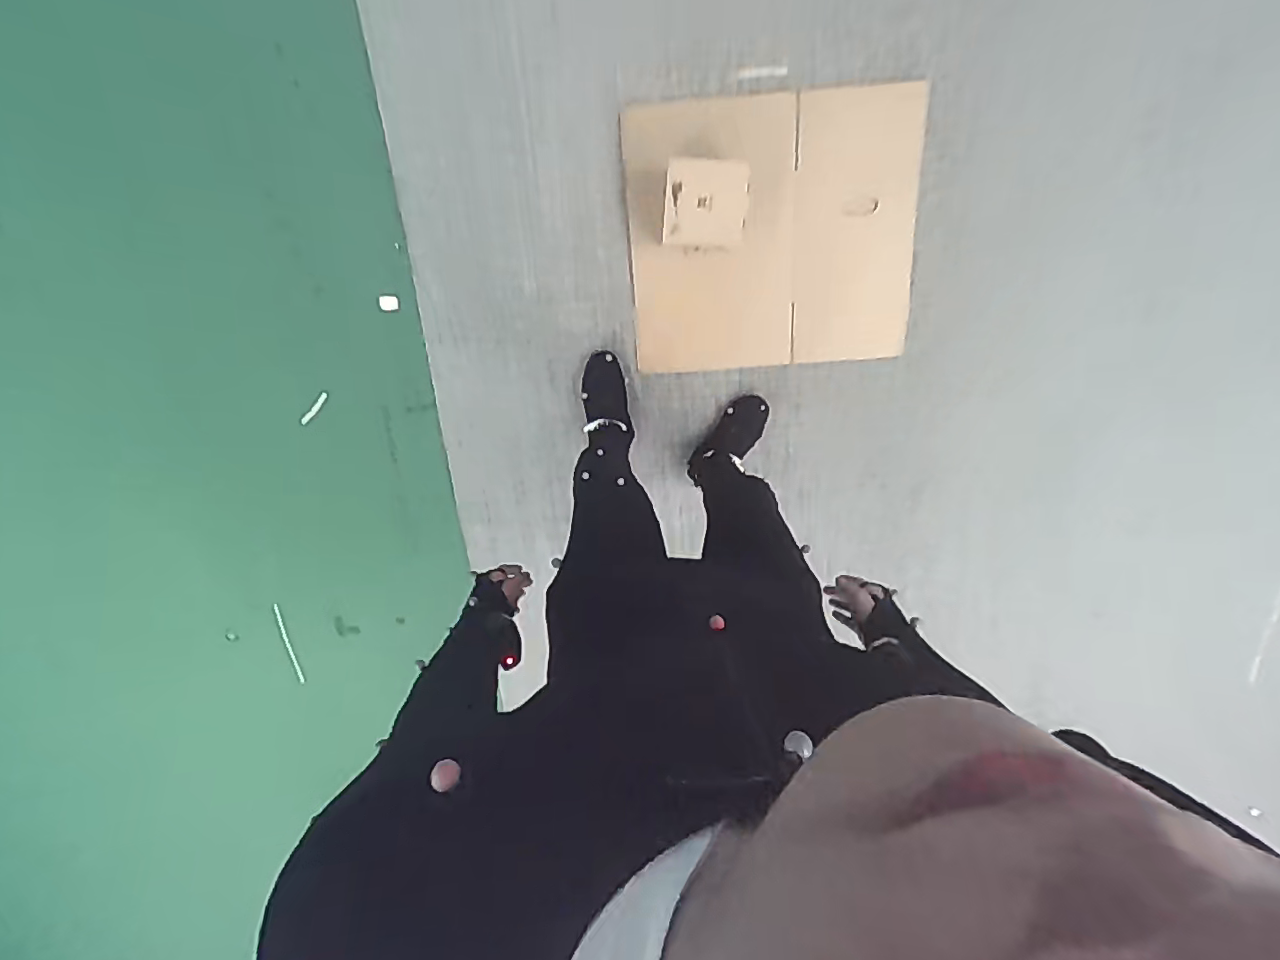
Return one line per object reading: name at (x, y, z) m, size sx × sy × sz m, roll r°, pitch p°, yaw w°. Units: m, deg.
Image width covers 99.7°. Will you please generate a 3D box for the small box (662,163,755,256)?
small box at (0.147, -0.603, 1.225) m, size 0.179 × 0.176 × 0.168 m, roll 4°, pitch 110°, yaw -1°
